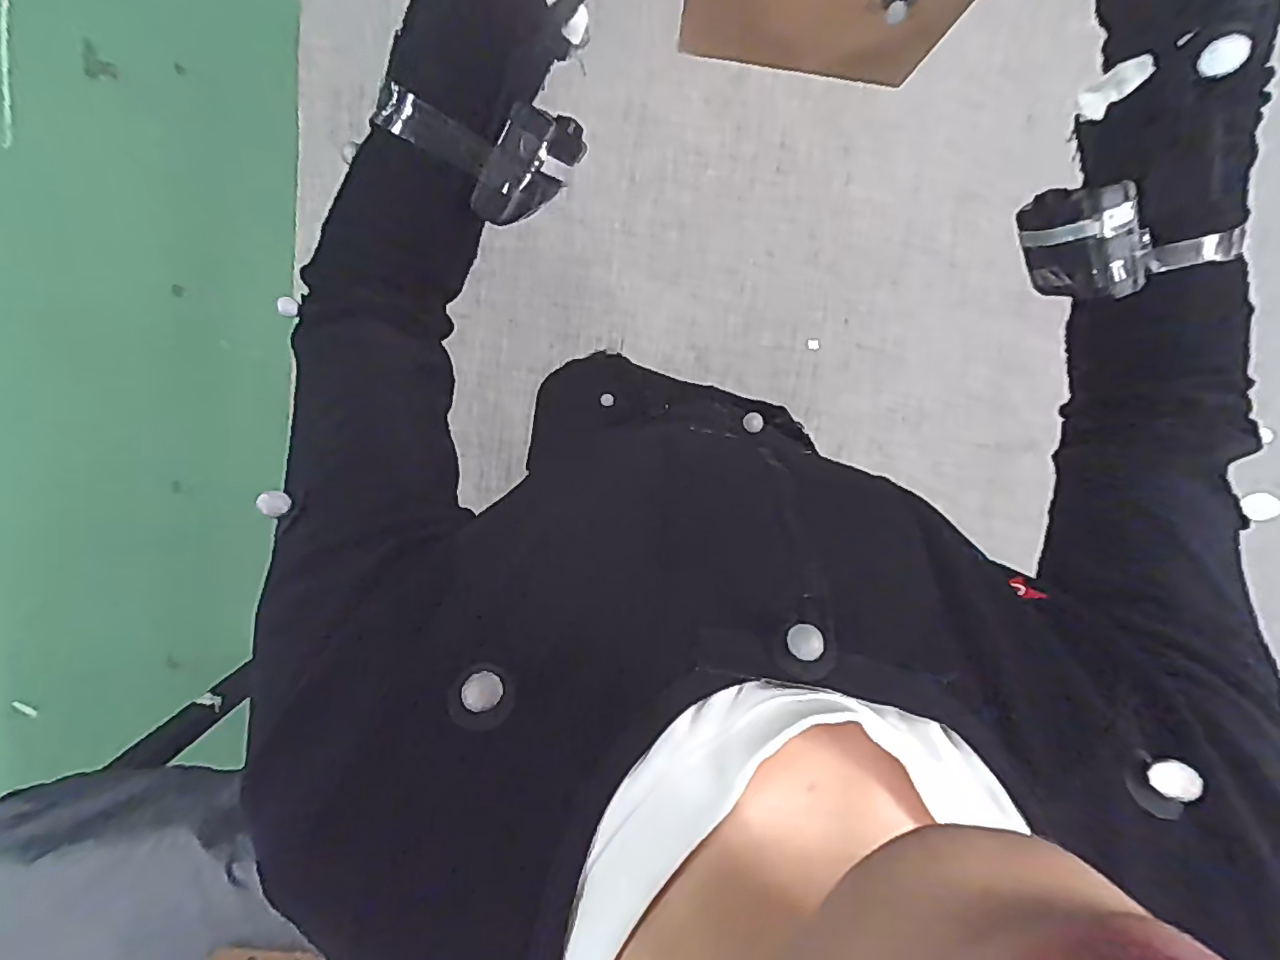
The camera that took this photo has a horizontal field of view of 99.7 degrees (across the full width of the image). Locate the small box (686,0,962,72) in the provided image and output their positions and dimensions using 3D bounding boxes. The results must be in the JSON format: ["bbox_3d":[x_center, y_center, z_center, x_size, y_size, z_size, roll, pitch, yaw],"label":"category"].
[{"bbox_3d":[0.130,-0.386,0.322,0.179,0.176,0.168,6,98,-1],"label":"small box"}]
